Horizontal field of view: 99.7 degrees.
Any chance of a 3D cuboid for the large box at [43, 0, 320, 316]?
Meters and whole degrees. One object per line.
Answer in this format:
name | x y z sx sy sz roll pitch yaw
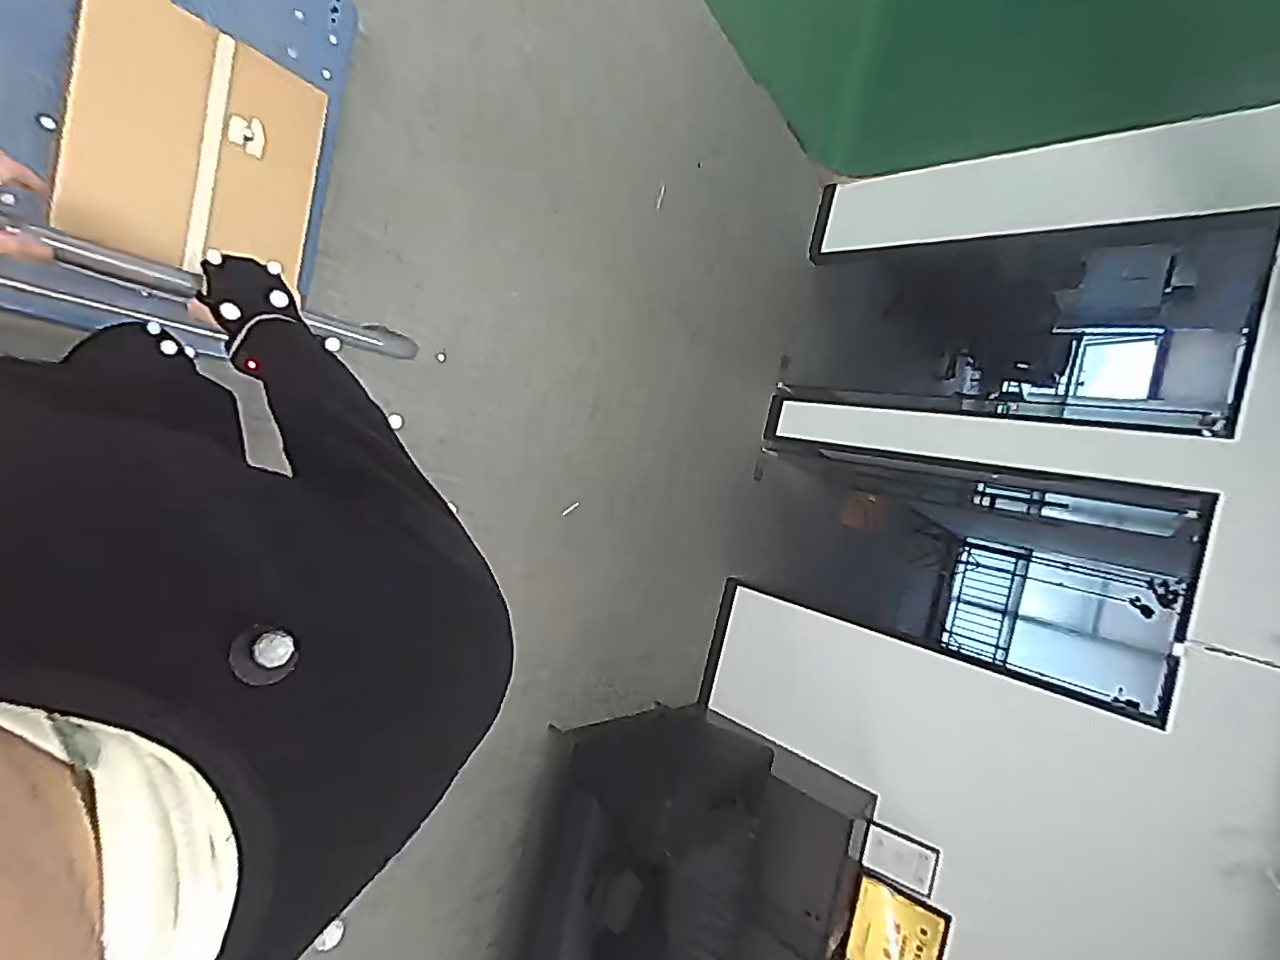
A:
large box | -0.826 -0.541 0.976 0.320 0.320 0.408 8 93 -51
